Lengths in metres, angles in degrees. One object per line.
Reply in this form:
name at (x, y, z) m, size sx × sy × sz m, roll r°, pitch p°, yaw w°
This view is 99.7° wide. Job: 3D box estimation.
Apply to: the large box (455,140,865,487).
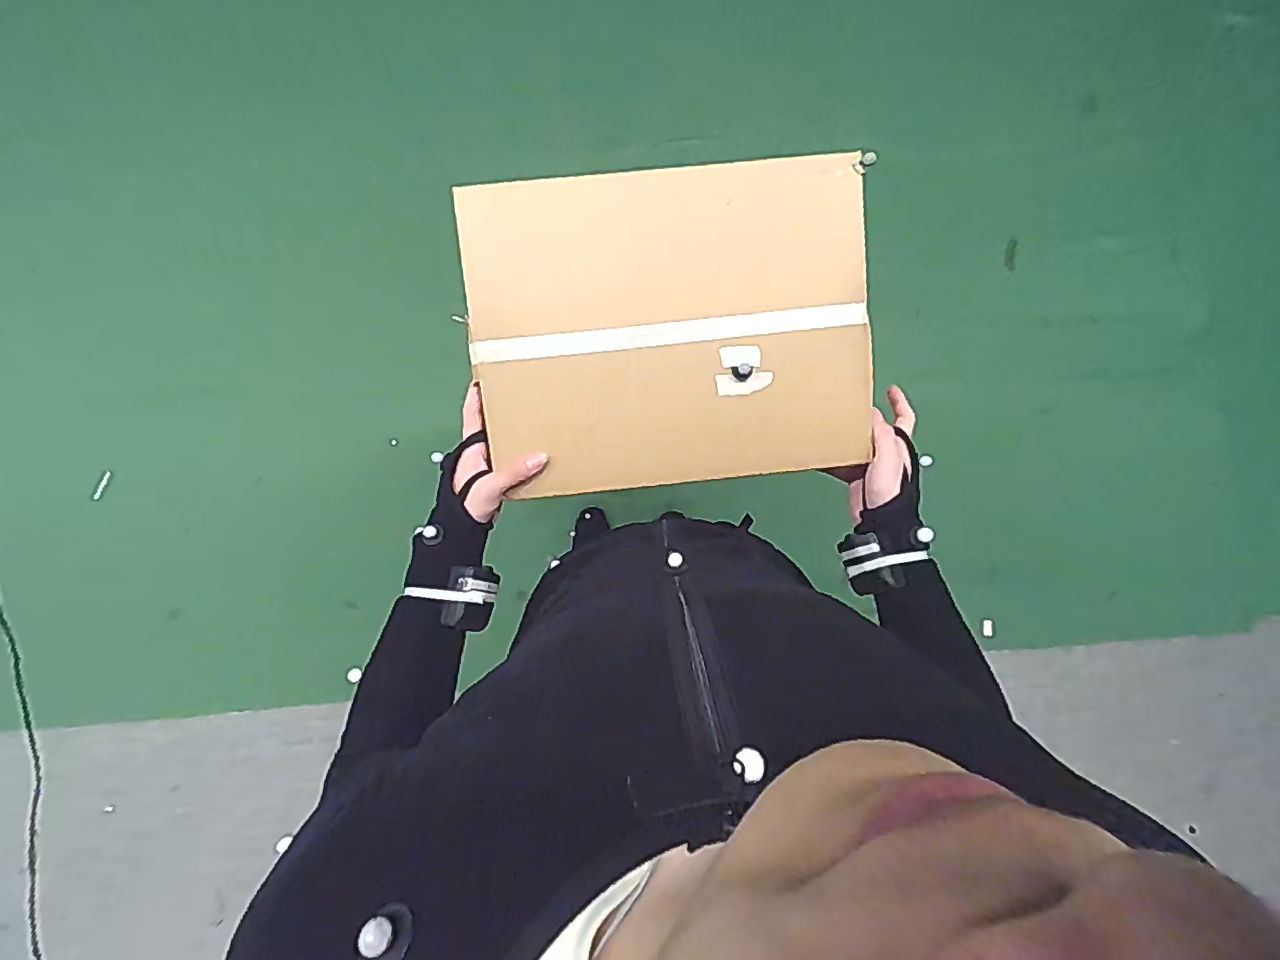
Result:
large box at (0.022, -0.188, 0.704) m, size 0.408 × 0.320 × 0.320 m, roll -7°, pitch 100°, yaw -2°
